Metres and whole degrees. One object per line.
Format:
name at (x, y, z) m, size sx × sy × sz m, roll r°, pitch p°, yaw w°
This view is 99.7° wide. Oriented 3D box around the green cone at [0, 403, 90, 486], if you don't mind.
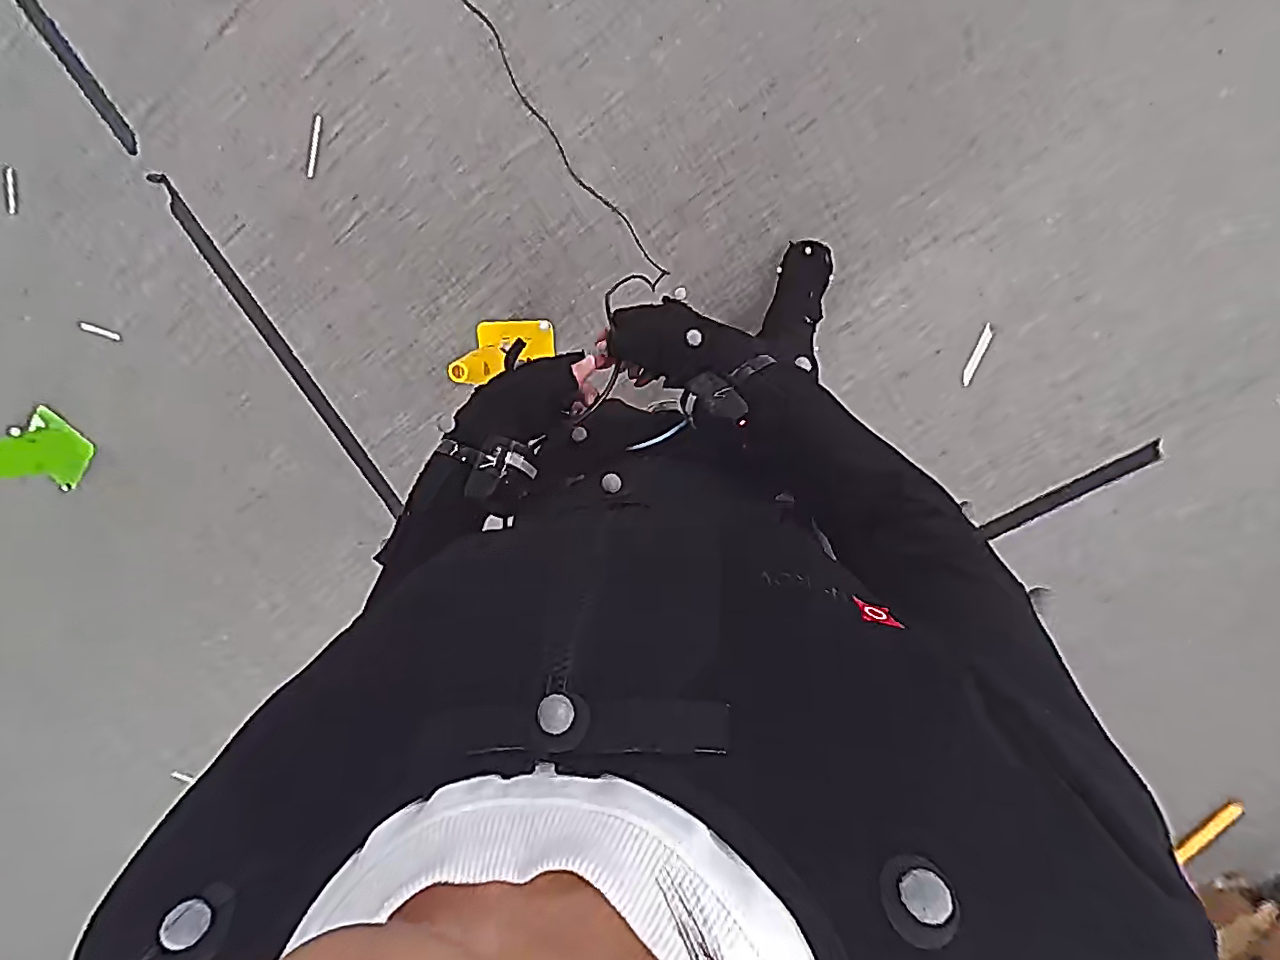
green cone at (-1.806, -0.063, 1.484) m, size 0.202 × 0.368 × 0.200 m, roll 42°, pitch 106°, yaw -4°
